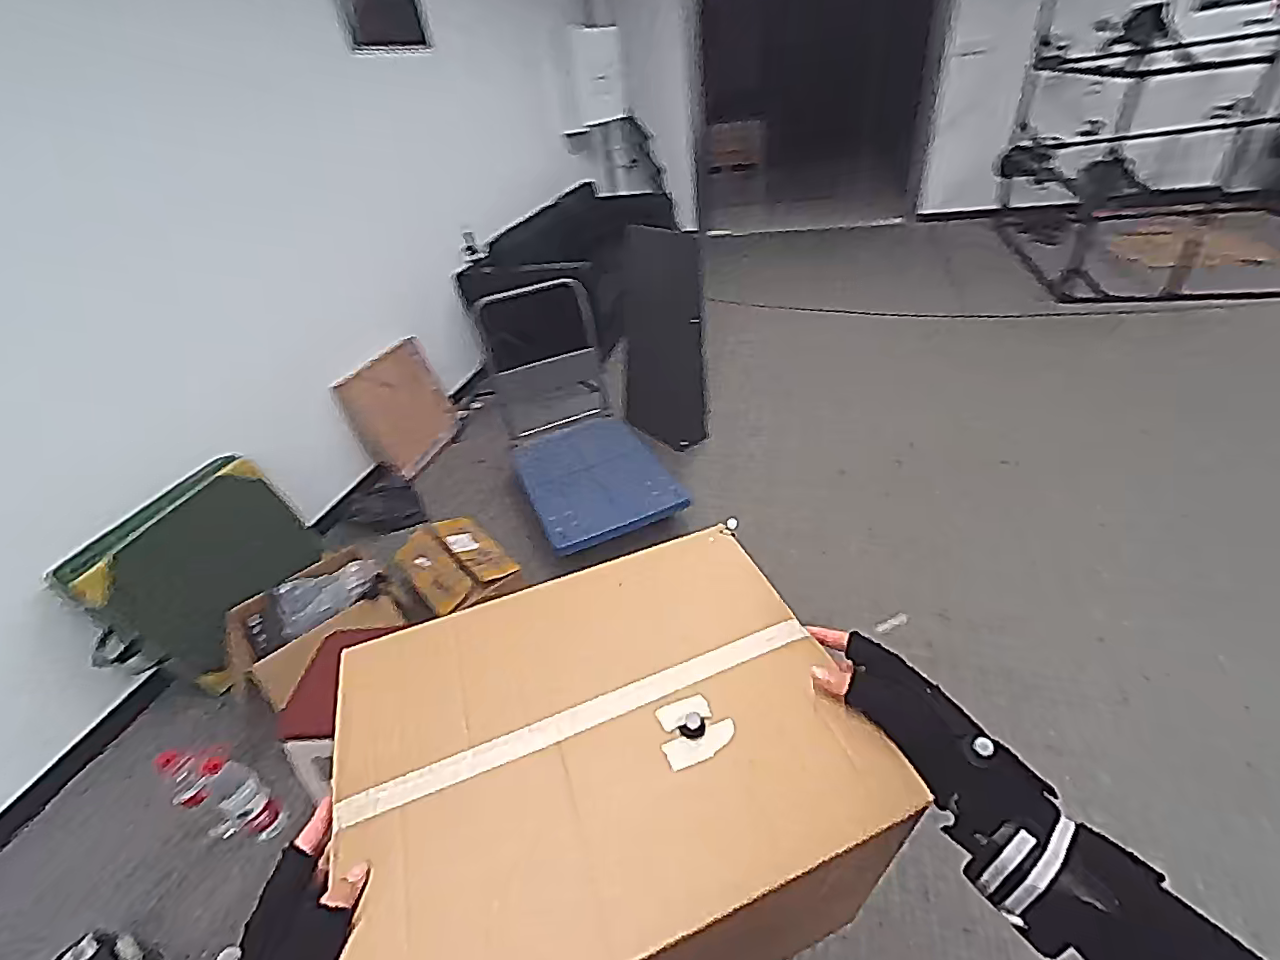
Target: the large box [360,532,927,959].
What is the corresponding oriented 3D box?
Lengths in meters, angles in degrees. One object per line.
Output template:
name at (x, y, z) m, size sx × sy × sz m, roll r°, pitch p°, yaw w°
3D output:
large box at (-0.017, 0.313, 0.546) m, size 0.408 × 0.320 × 0.320 m, roll -16°, pitch 40°, yaw -14°
